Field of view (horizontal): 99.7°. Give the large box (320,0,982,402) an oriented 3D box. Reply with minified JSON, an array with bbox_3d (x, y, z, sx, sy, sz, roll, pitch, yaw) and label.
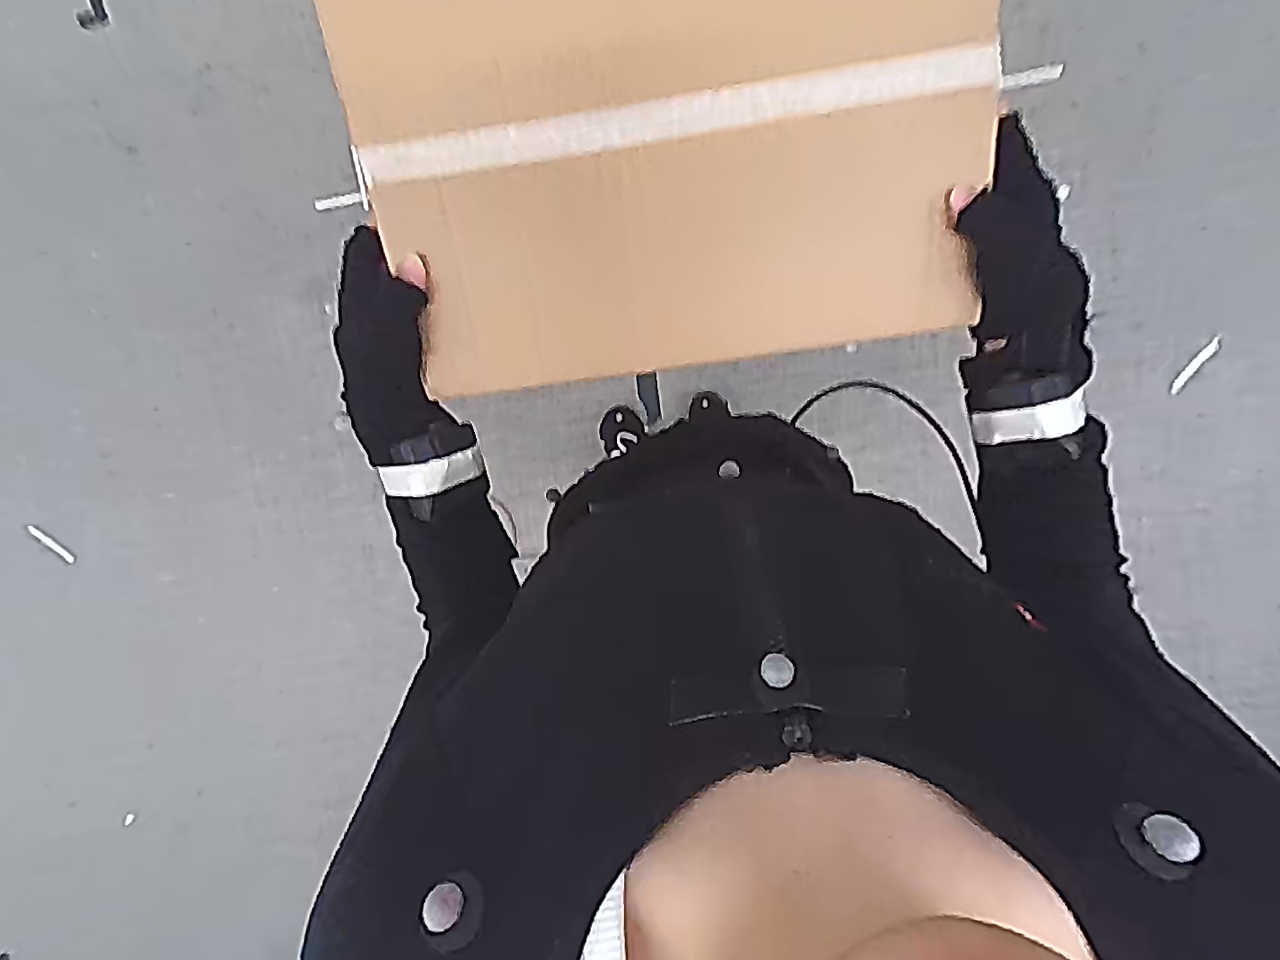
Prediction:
[{"bbox_3d":[0.017,-0.282,0.490,0.408,0.320,0.320,-8,110,3],"label":"large box"}]
